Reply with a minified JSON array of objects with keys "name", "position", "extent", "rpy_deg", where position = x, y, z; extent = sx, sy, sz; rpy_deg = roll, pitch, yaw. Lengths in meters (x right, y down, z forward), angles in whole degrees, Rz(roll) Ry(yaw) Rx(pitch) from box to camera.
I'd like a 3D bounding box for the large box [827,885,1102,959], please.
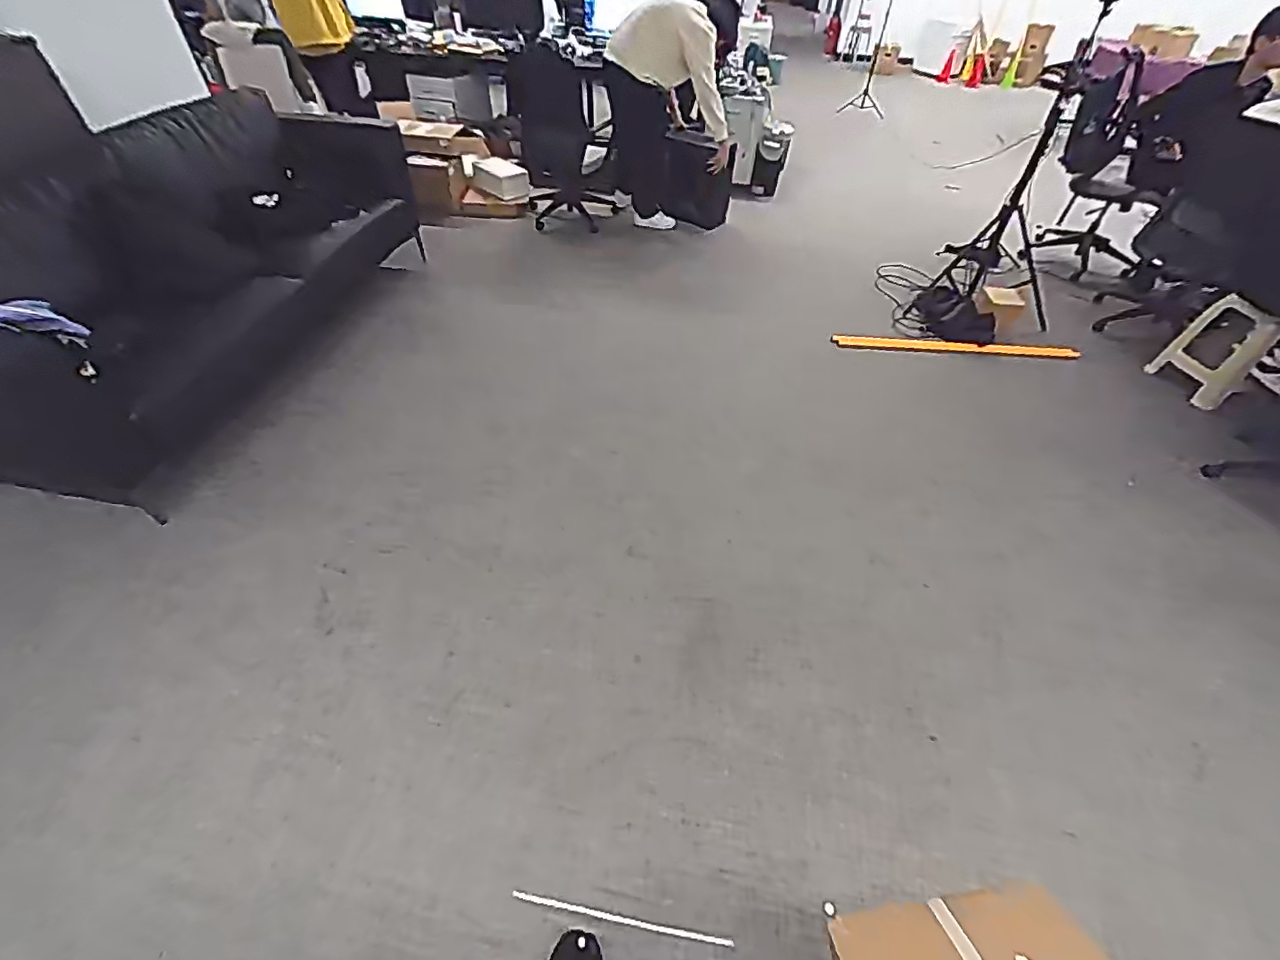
[{"name":"large box","position":[0.449,0.771,0.594],"extent":[0.320,0.320,0.408],"rpy_deg":[-10,3,1]}]
